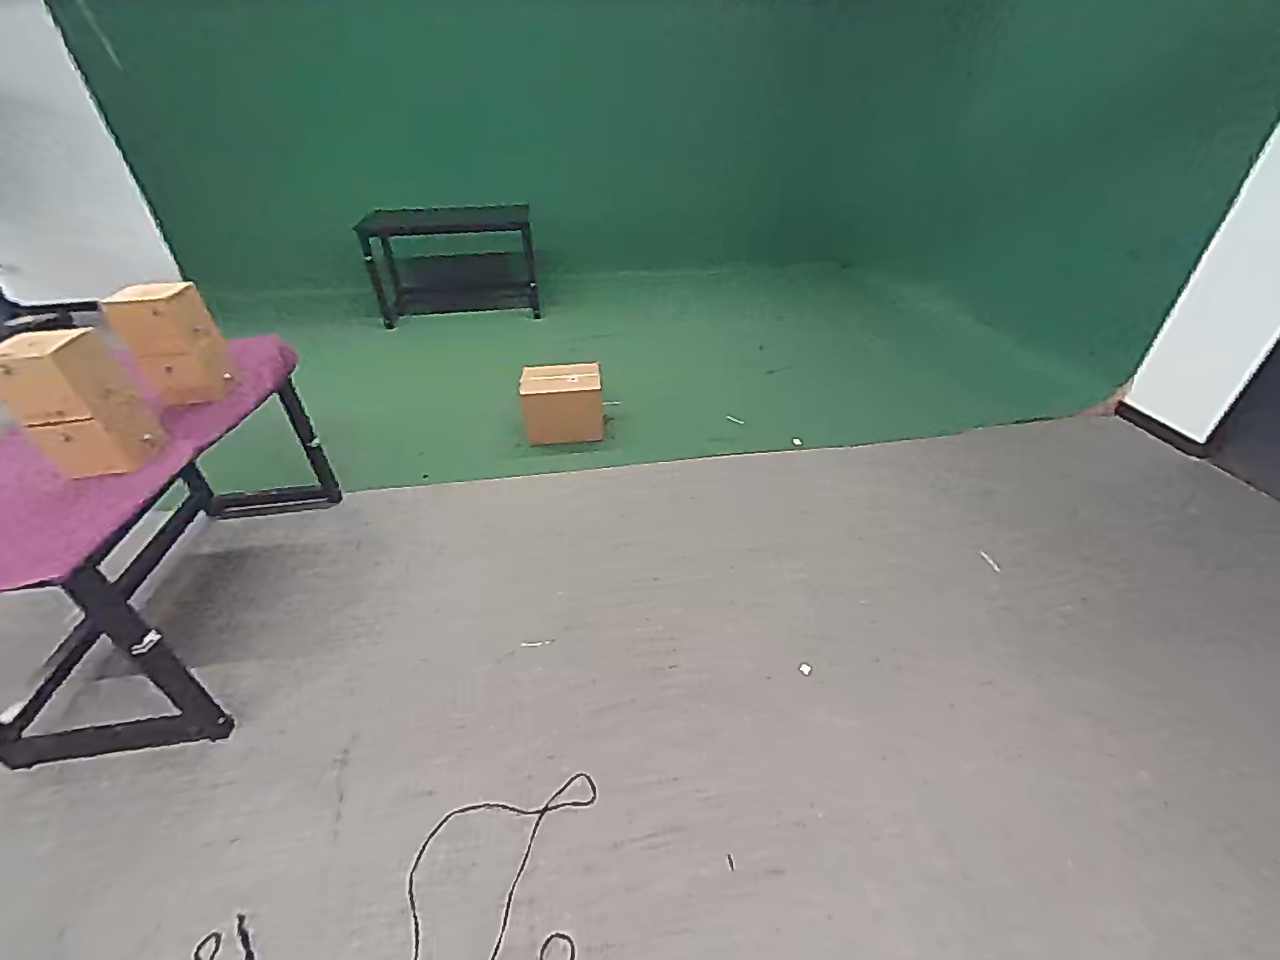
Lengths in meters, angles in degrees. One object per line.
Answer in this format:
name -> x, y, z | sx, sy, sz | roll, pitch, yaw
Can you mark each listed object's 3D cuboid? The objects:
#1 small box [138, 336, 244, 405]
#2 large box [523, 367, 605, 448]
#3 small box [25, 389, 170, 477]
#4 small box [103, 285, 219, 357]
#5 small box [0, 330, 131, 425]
small box -> -1.442, -0.353, 1.748 | 0.179, 0.176, 0.168 | -5, 37, -6
large box -> -0.400, -0.389, 2.878 | 0.408, 0.320, 0.320 | -4, 37, -5
small box -> -1.418, -0.122, 1.429 | 0.179, 0.176, 0.168 | -7, 37, -6
small box -> -1.451, -0.484, 1.653 | 0.179, 0.176, 0.168 | -6, 37, -6
small box -> -1.422, -0.253, 1.331 | 0.168, 0.176, 0.179 | -8, 36, -6
